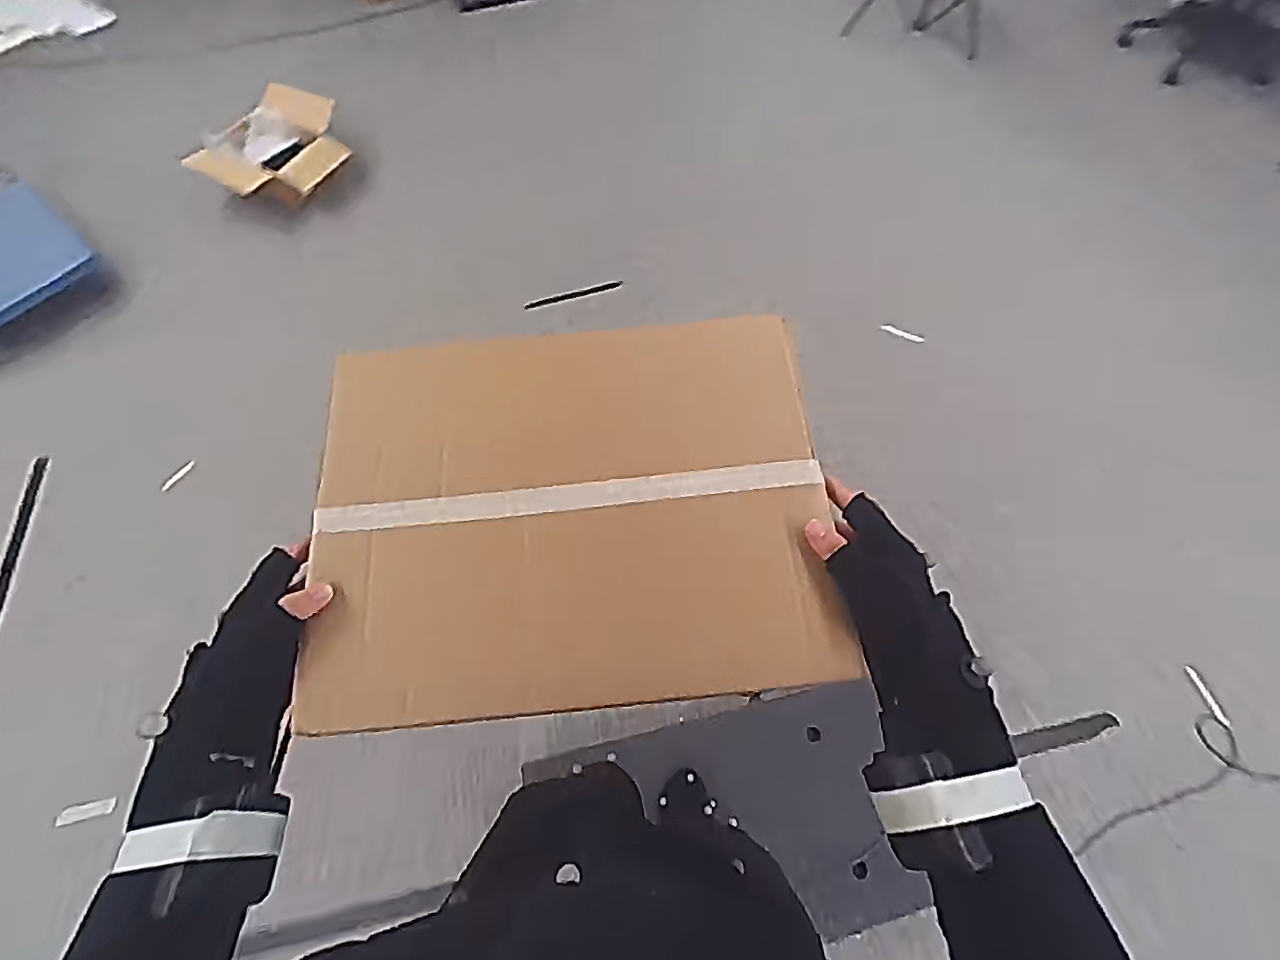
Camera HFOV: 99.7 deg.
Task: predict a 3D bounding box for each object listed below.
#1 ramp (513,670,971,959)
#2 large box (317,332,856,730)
[{"bbox_3d":[0.239,0.795,1.258,0.991,0.206,0.509,-15,62,-5],"label":"ramp"},{"bbox_3d":[-0.046,0.072,0.584,0.408,0.320,0.320,-4,68,-1],"label":"large box"}]
